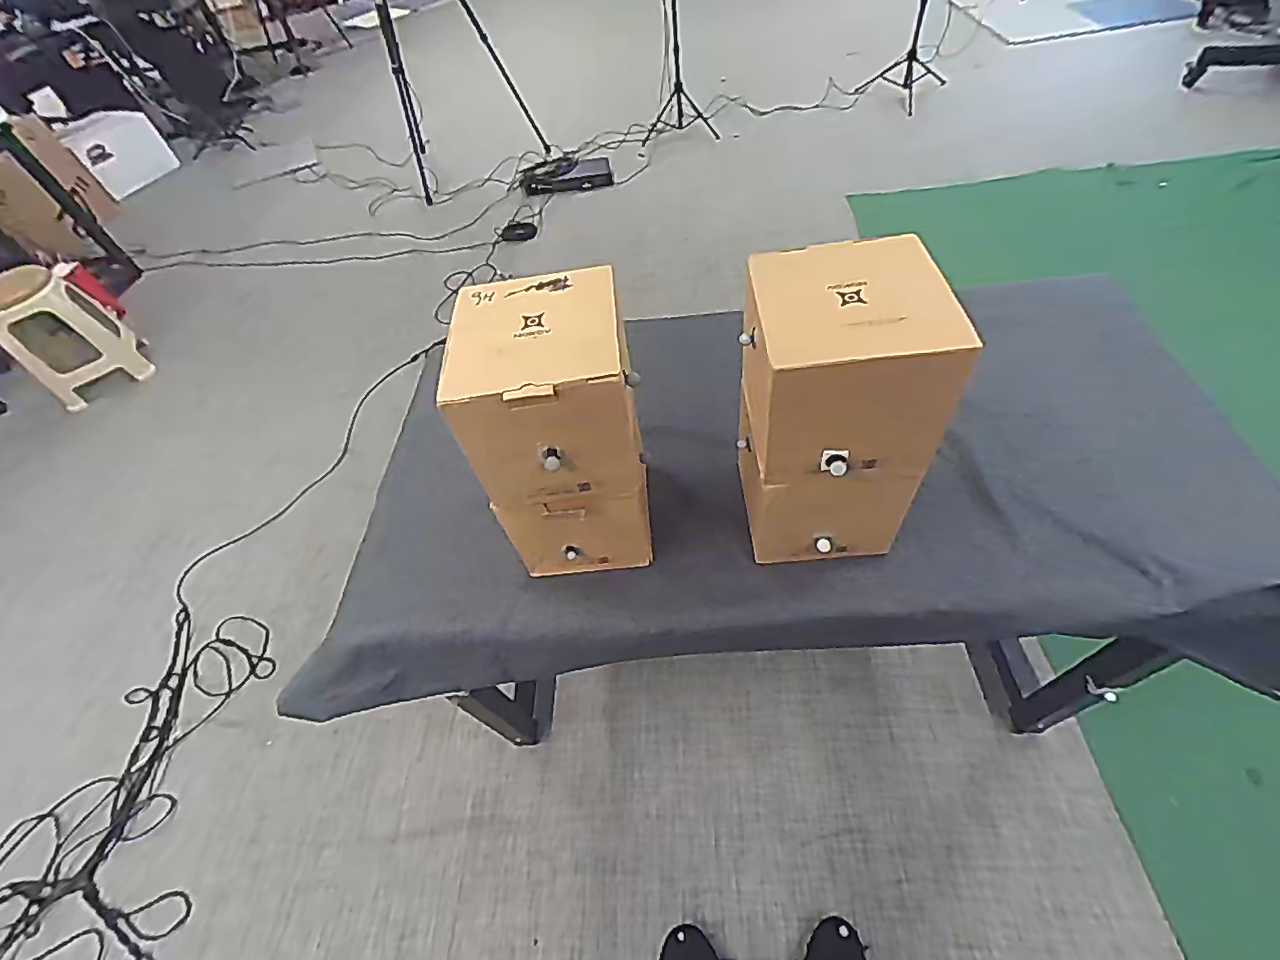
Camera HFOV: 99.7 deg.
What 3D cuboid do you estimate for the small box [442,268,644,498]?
[{"bbox_3d":[-0.089,-0.094,0.581,0.168,0.176,0.179,-7,53,3],"label":"small box"}]

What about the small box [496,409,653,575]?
[{"bbox_3d":[-0.075,0.004,0.712,0.168,0.176,0.179,-7,52,3],"label":"small box"}]

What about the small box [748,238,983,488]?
[{"bbox_3d":[0.202,-0.114,0.549,0.168,0.176,0.179,-6,52,6],"label":"small box"}]

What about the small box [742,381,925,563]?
[{"bbox_3d":[0.222,-0.016,0.677,0.168,0.176,0.179,-5,52,5],"label":"small box"}]
